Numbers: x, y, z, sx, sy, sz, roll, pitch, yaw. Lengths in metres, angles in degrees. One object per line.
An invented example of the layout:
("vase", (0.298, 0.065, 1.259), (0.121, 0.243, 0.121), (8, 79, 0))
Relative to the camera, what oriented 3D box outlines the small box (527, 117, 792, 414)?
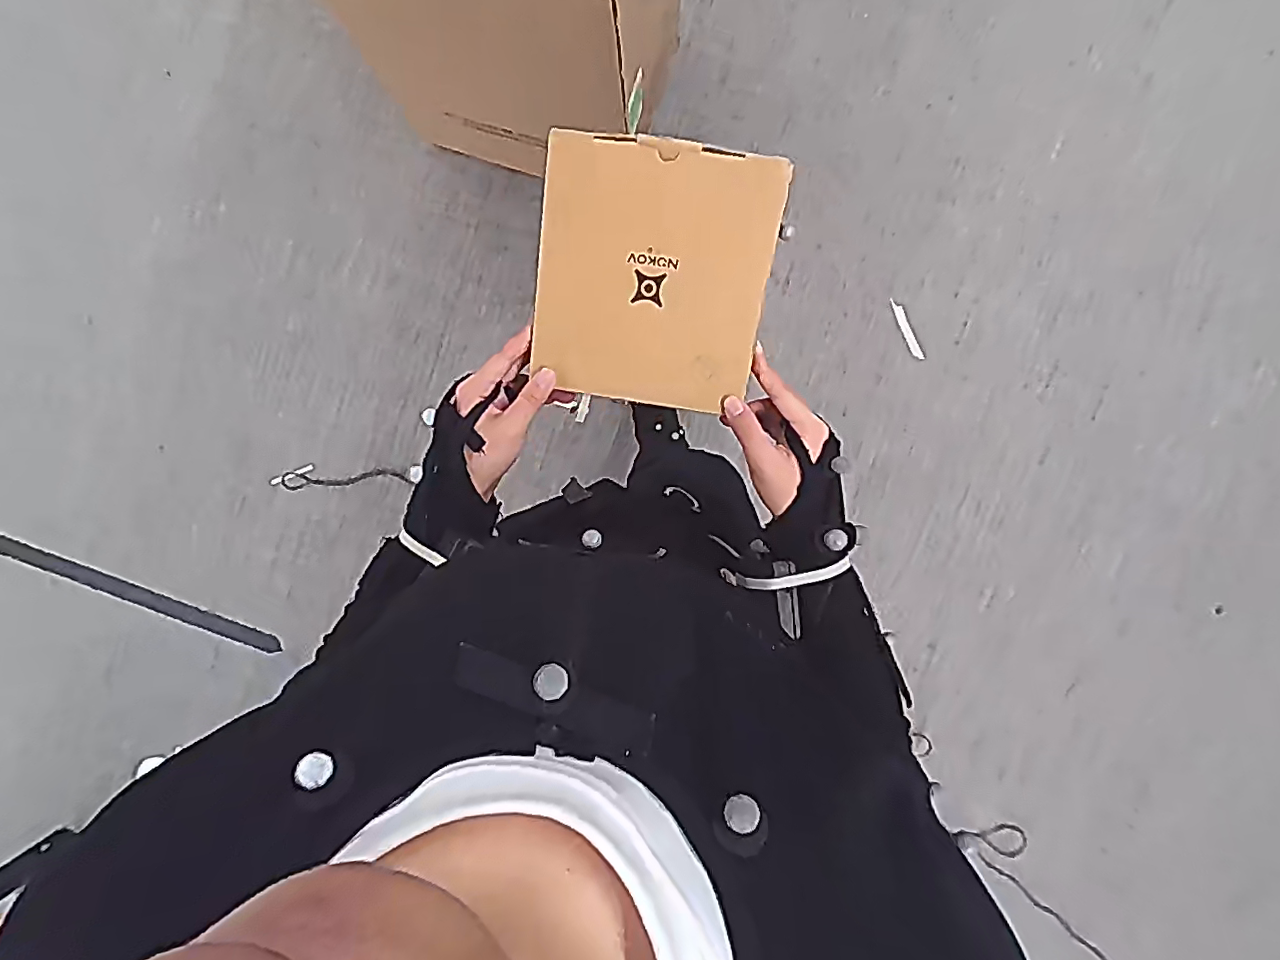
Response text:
("small box", (0.016, -0.165, 0.449), (0.168, 0.176, 0.179), (9, 107, 4))
